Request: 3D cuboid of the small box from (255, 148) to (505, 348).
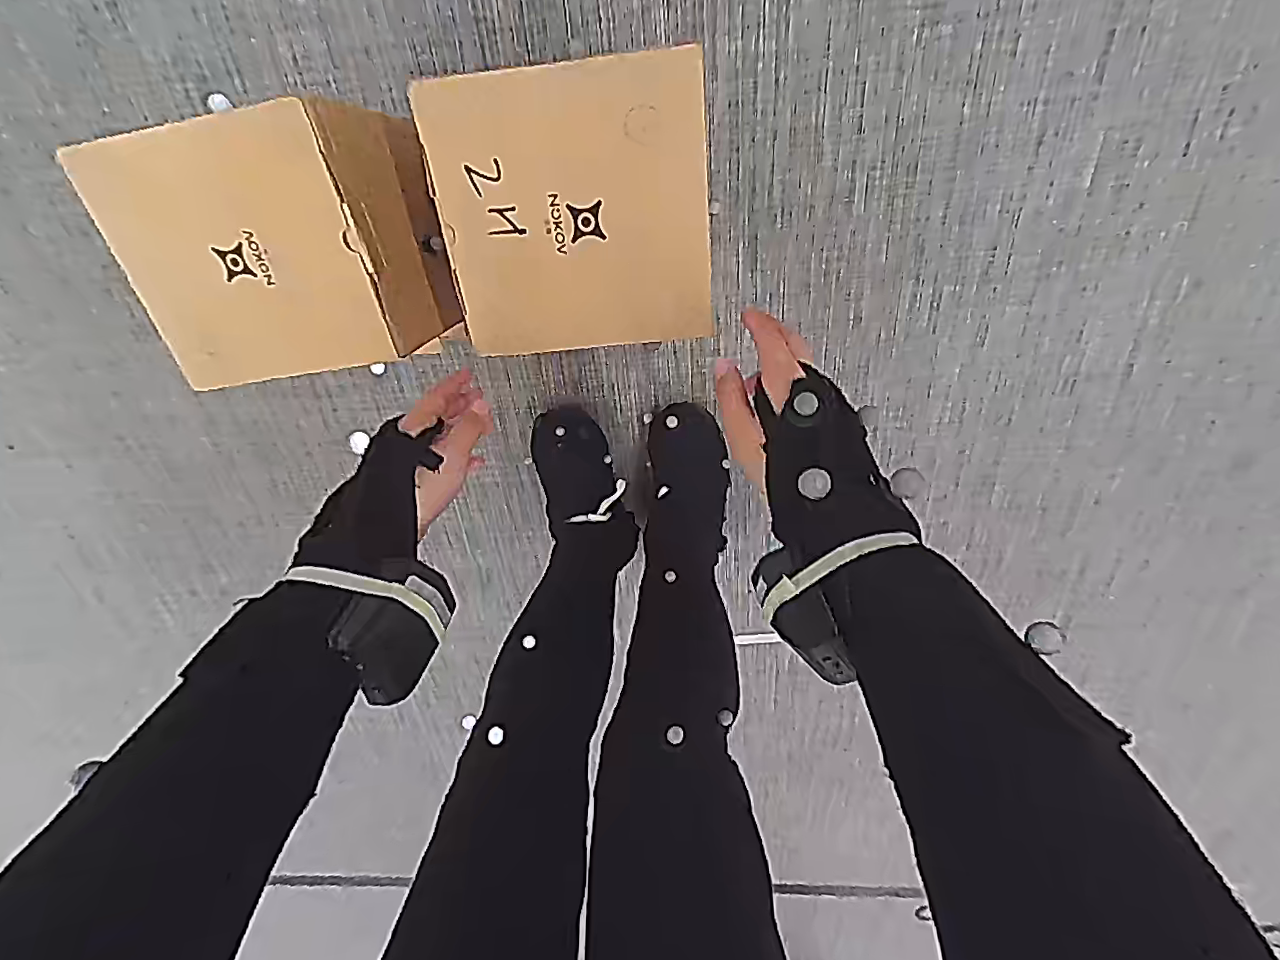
[{"bbox_3d":[-0.256,-0.253,0.588,0.168,0.176,0.179,-1,118,4],"label":"small box"}]
